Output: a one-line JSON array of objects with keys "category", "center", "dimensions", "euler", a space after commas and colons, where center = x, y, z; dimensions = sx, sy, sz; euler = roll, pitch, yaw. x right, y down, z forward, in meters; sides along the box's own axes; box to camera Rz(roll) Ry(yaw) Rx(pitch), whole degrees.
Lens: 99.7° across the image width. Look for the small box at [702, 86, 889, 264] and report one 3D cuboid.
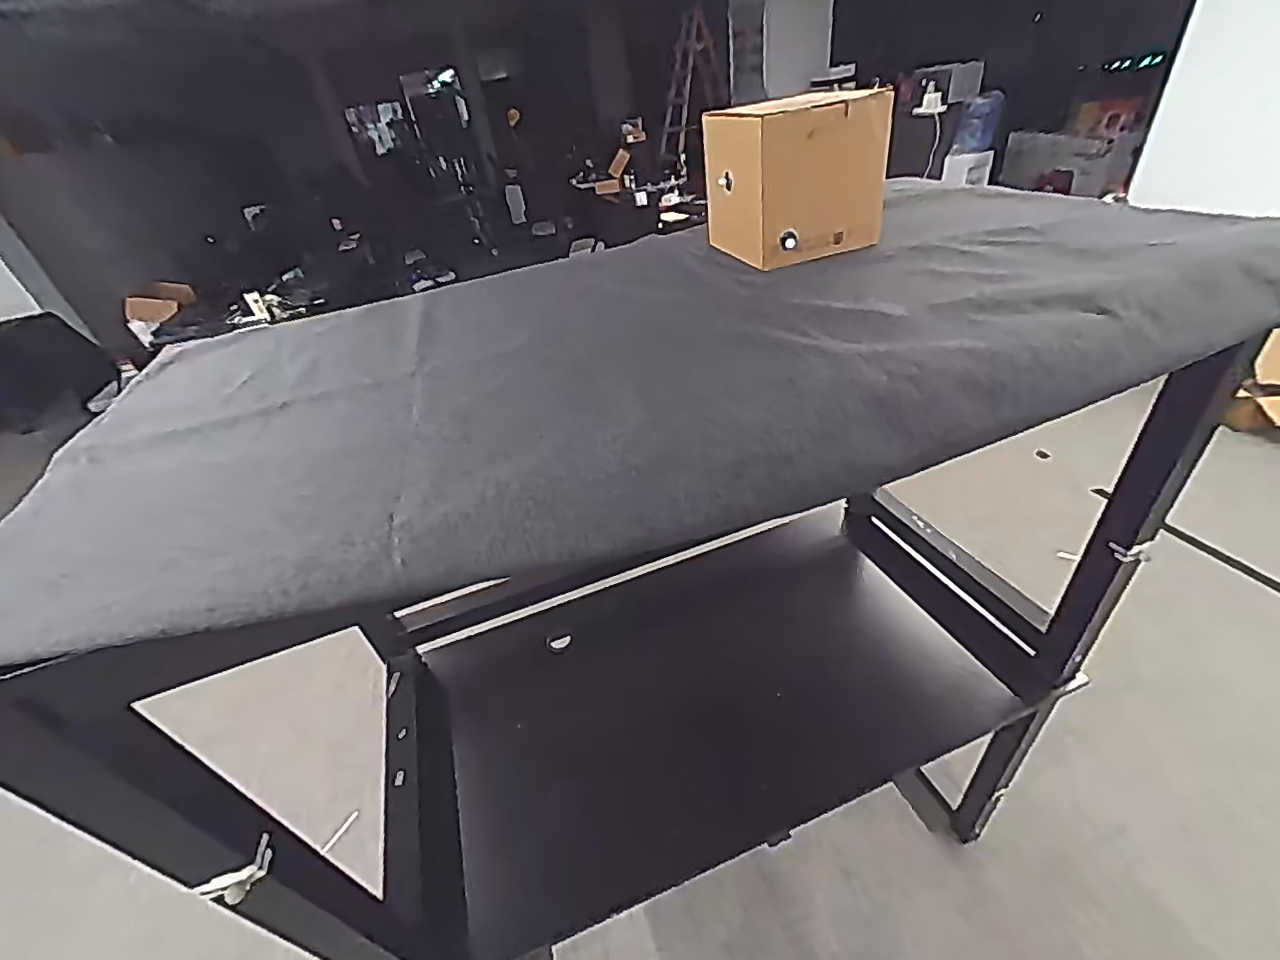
[{"category": "small box", "center": [0.194, -0.395, 0.706], "dimensions": [0.168, 0.176, 0.179], "euler": [-17, 36, -9]}]
